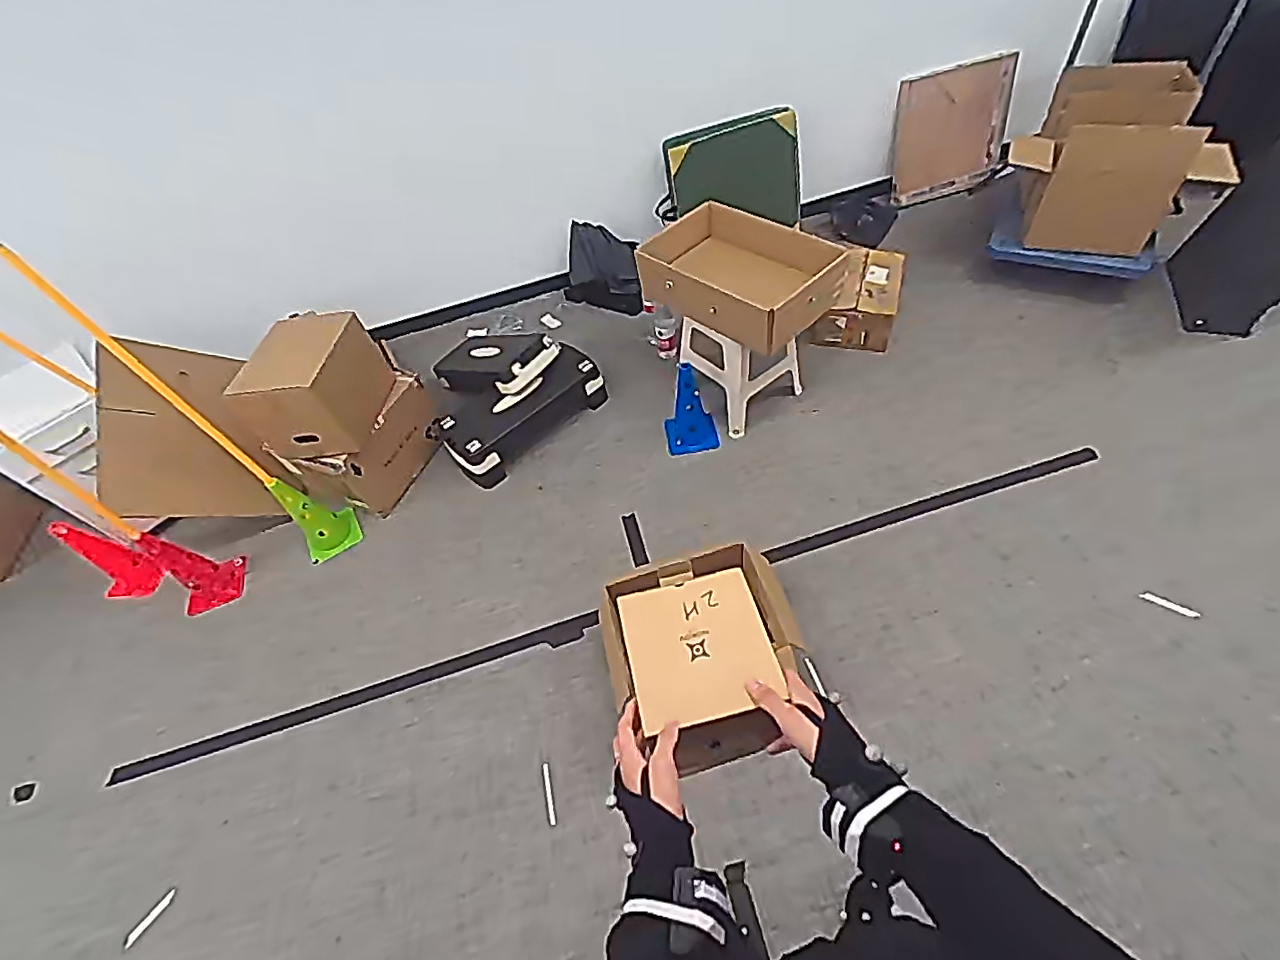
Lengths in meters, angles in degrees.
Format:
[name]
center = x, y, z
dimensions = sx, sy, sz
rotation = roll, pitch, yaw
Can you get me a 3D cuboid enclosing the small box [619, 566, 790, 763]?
[small box]
center = 0.078, 0.241, 0.690
dimensions = 0.168, 0.176, 0.179
rotation = -13, 48, -3
